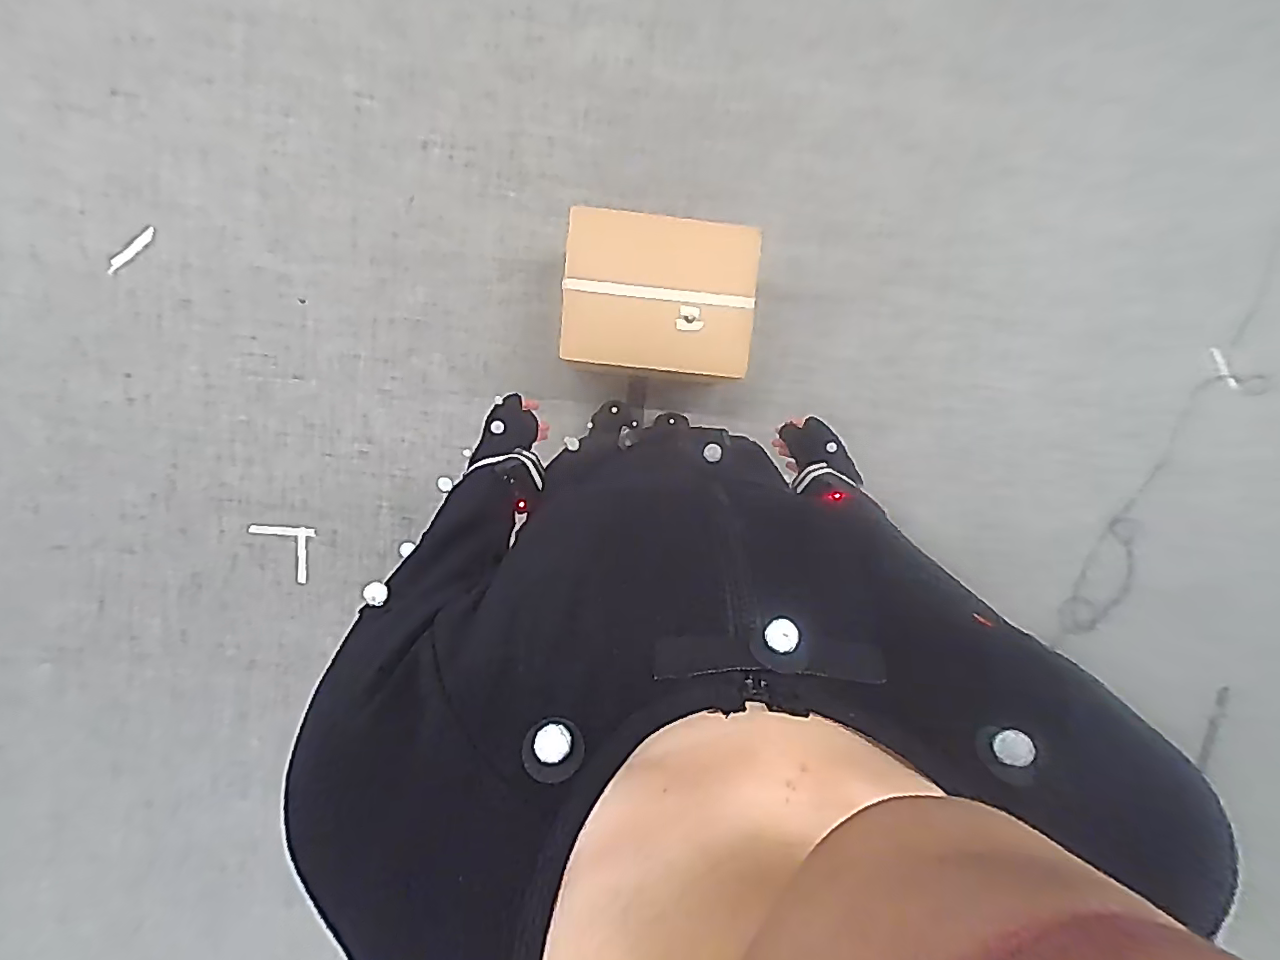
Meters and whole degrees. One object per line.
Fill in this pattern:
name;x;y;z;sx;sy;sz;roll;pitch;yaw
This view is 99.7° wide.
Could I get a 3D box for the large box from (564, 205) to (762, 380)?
large box;0.037;-0.415;1.280;0.408;0.320;0.320;5;98;-4
